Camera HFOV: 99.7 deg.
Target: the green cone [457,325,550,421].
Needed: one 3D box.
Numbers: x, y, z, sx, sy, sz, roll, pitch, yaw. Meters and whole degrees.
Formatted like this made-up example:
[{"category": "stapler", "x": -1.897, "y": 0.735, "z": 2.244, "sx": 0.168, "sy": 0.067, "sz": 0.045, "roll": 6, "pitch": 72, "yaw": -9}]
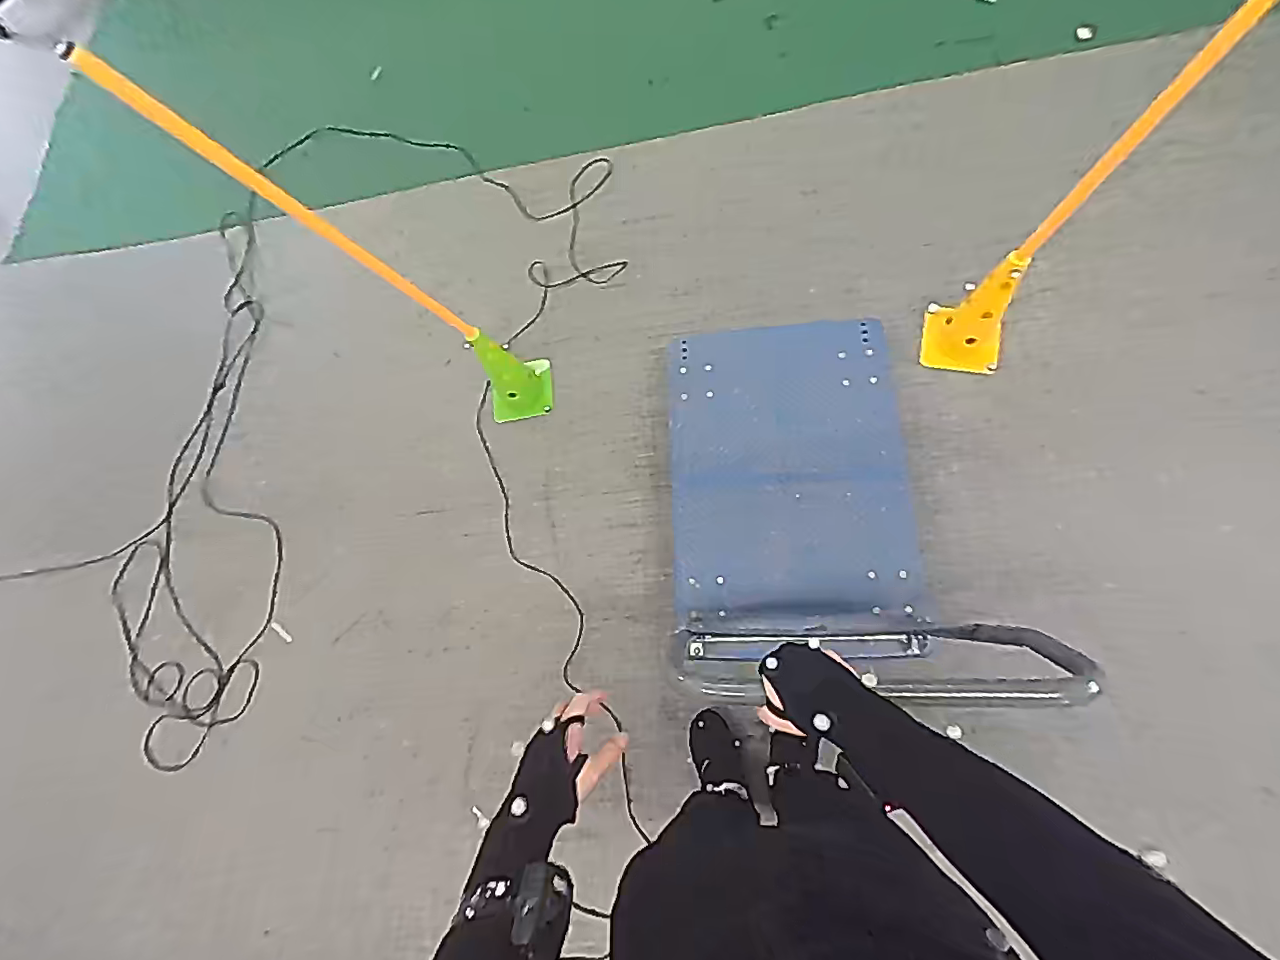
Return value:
[{"category": "green cone", "x": -0.425, "y": -0.346, "z": 1.592, "sx": 0.202, "sy": 0.368, "sz": 0.200, "roll": -11, "pitch": 71, "yaw": 9}]
